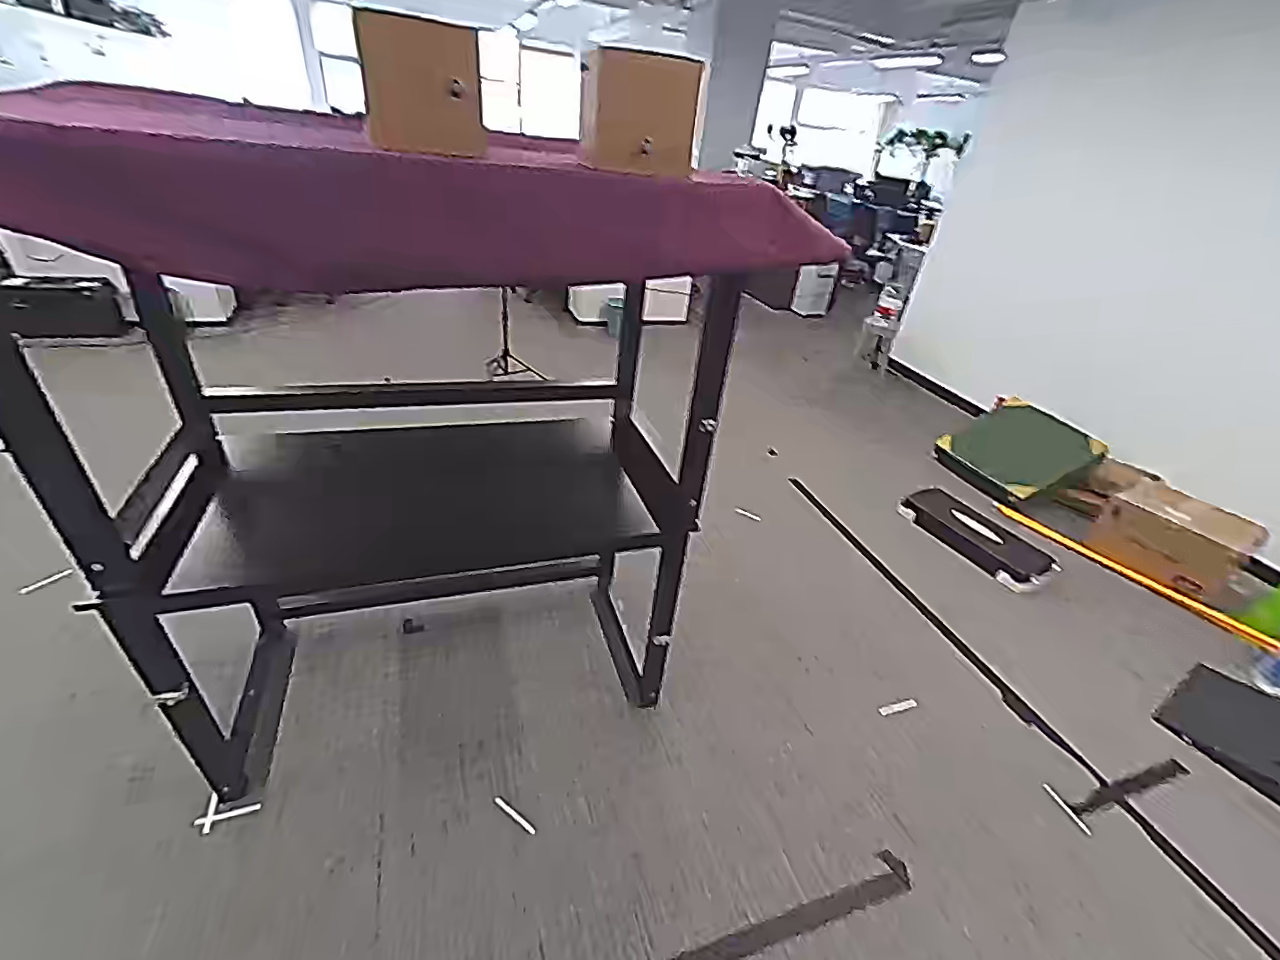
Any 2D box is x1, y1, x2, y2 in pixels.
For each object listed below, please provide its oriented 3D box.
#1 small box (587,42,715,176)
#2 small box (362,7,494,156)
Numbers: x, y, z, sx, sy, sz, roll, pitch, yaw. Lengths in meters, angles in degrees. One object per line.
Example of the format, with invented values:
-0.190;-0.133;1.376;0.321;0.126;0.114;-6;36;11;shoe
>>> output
0.009;-0.629;0.934;0.179;0.176;0.168;-3;33;-15;small box
-0.333;-0.620;0.861;0.179;0.176;0.168;-9;35;-22;small box
